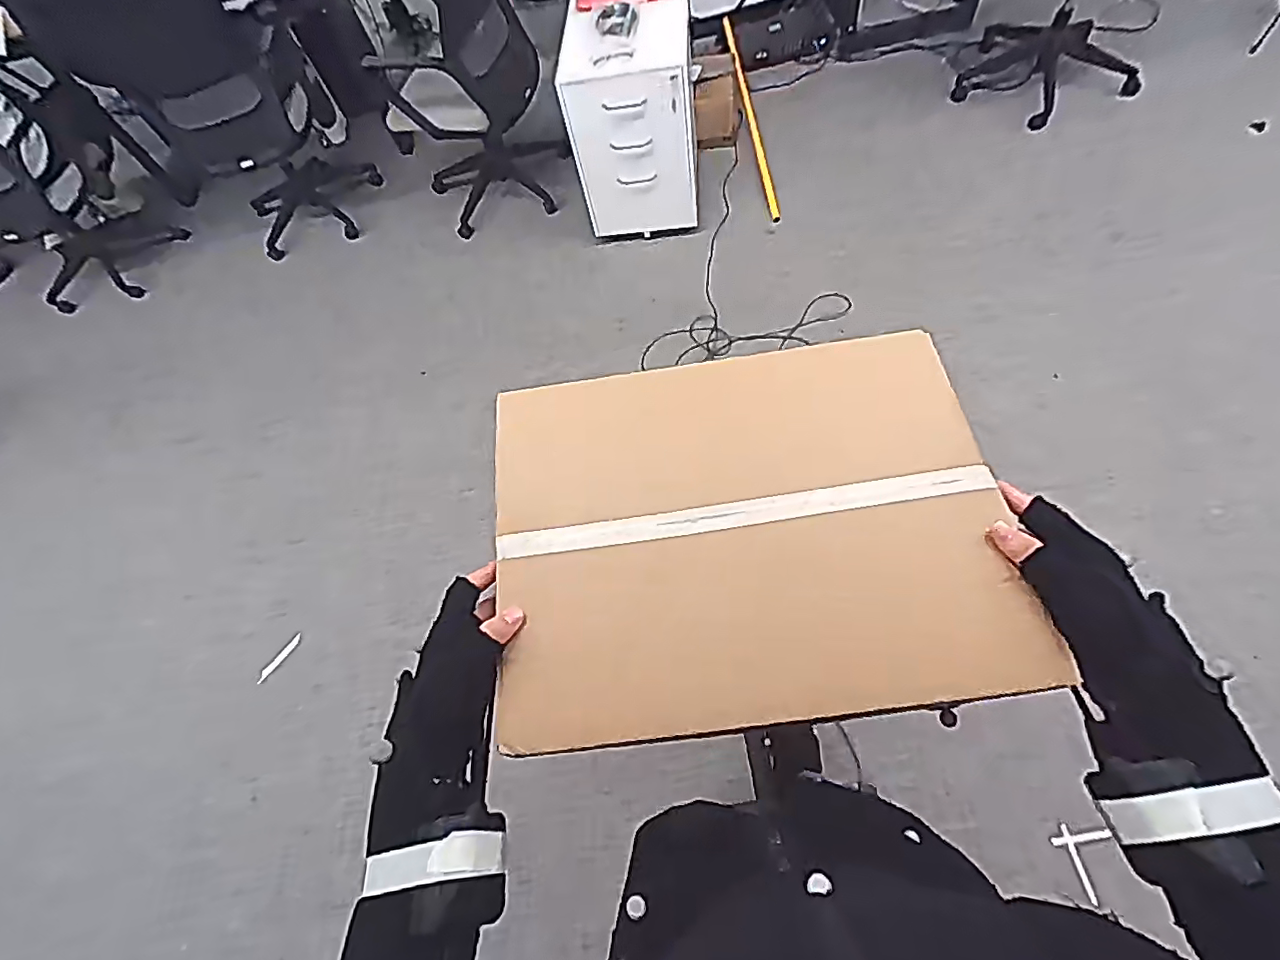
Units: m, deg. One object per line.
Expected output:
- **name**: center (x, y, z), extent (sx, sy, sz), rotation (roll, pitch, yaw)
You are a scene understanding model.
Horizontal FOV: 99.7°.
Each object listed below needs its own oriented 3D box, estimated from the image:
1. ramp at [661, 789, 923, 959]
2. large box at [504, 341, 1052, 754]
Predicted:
- **ramp**: center (0.331, 1.137, 0.945), extent (0.509, 0.206, 0.991), rotation (-12, 62, 4)
- **large box**: center (0.098, 0.095, 0.587), extent (0.408, 0.320, 0.320), rotation (-8, 64, 2)
